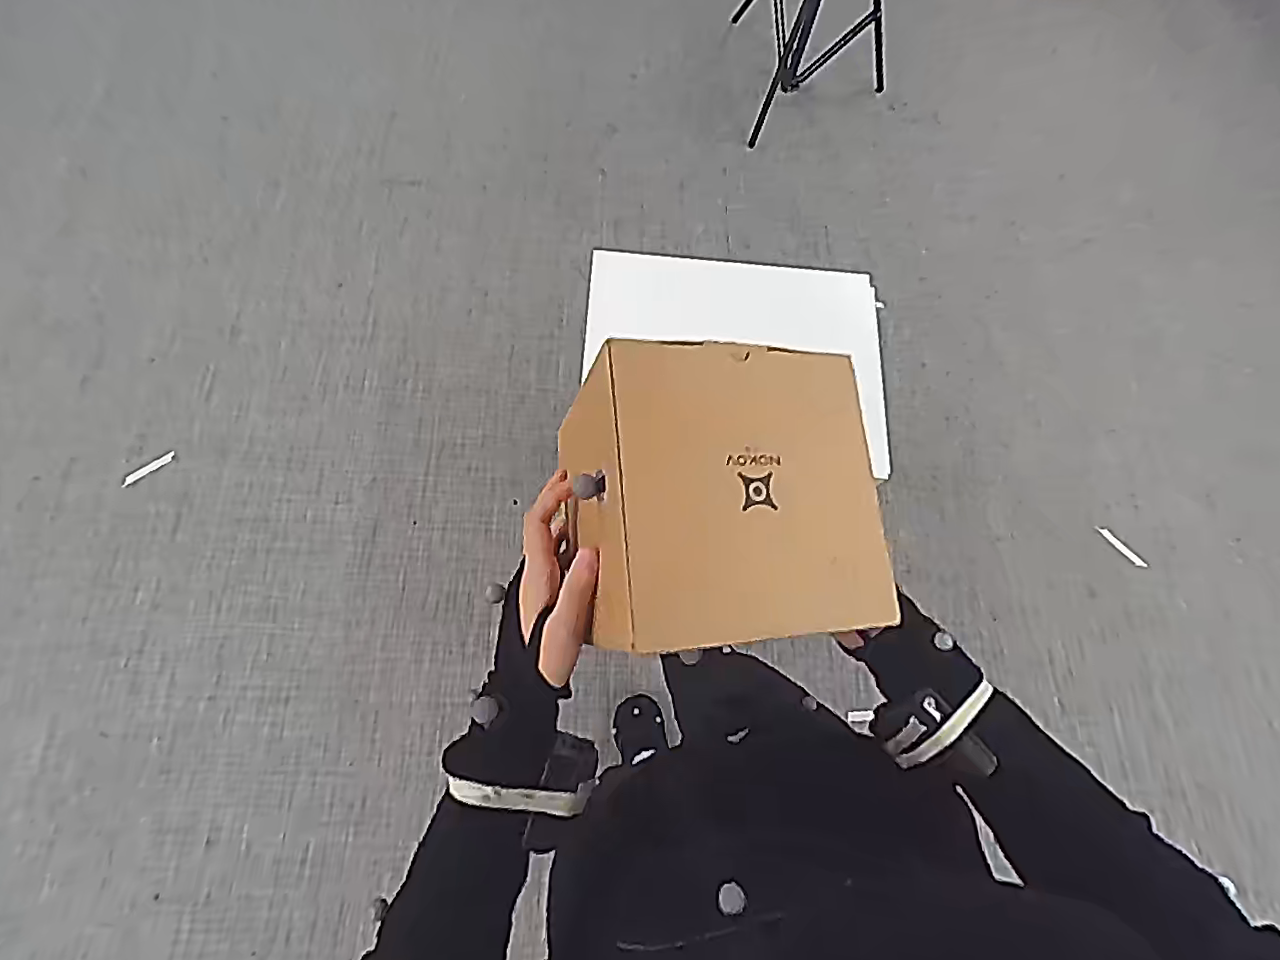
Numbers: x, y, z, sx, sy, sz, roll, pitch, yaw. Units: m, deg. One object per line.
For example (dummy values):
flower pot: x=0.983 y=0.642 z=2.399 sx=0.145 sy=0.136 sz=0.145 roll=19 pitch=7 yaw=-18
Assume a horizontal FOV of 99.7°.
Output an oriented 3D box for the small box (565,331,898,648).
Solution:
small box: x=0.044 y=0.017 z=0.386 sx=0.168 sy=0.176 sz=0.179 roll=-1 pitch=76 yaw=-18
